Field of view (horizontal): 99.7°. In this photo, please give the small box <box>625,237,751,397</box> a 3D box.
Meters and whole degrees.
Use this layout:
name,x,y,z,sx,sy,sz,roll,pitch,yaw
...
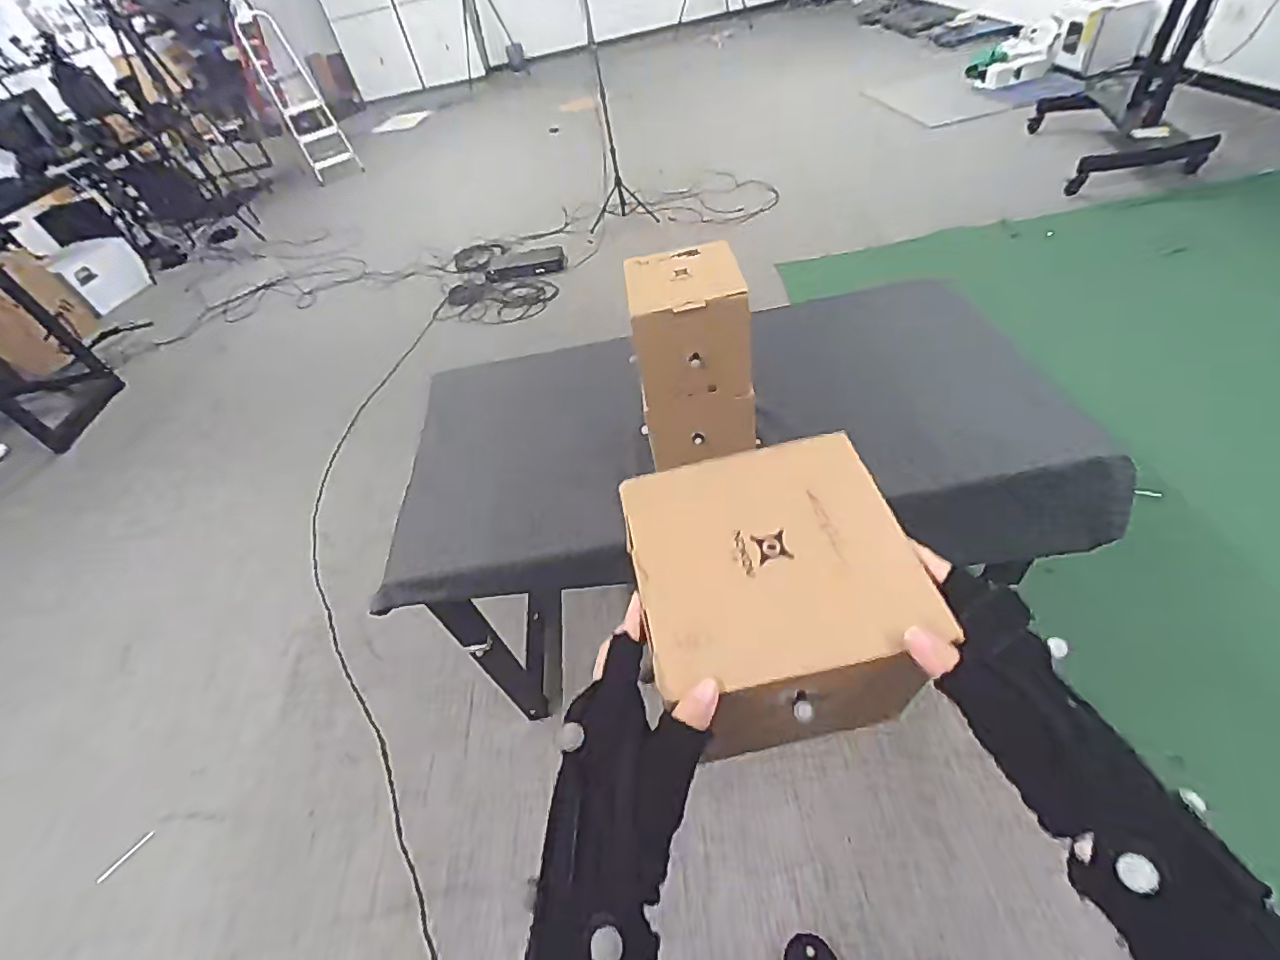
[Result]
name,x,y,z,sx,sy,sz,roll,pitch,yaw
small box,0.075,-0.244,0.839,0.168,0.176,0.179,-9,47,4

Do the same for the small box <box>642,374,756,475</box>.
name,x,y,z,sx,sy,sz,roll,pitch,yaw
small box,0.102,-0.129,0.951,0.179,0.176,0.168,-9,47,5
